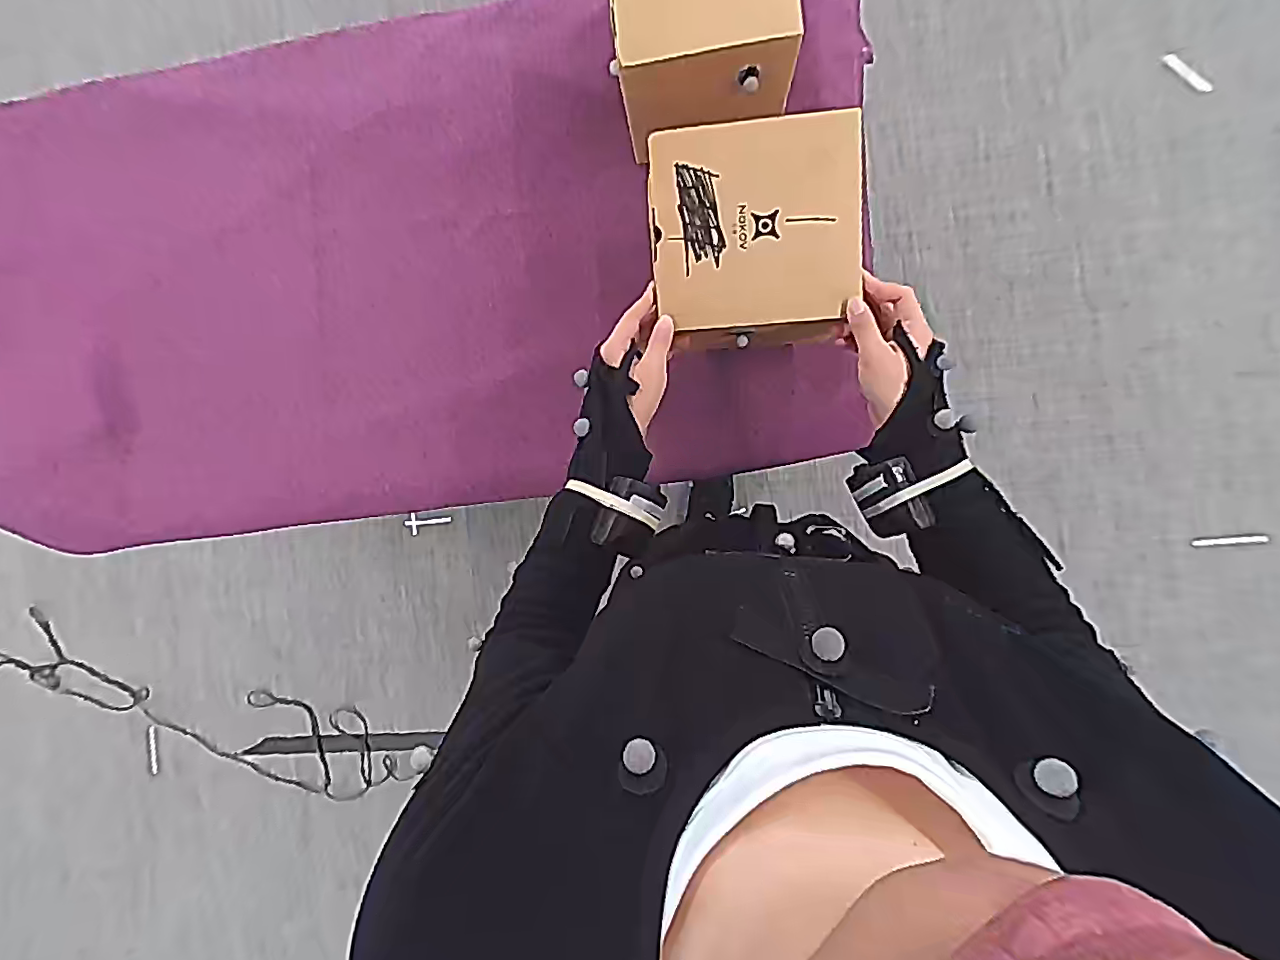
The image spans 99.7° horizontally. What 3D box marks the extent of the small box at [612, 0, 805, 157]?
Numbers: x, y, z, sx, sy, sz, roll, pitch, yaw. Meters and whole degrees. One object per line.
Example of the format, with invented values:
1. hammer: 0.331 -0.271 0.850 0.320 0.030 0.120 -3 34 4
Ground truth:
1. small box: 0.066 -0.481 0.578 0.179 0.176 0.168 -6 90 7

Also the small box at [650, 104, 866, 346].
1. small box: 0.109 -0.228 0.531 0.179 0.176 0.168 -2 98 8
